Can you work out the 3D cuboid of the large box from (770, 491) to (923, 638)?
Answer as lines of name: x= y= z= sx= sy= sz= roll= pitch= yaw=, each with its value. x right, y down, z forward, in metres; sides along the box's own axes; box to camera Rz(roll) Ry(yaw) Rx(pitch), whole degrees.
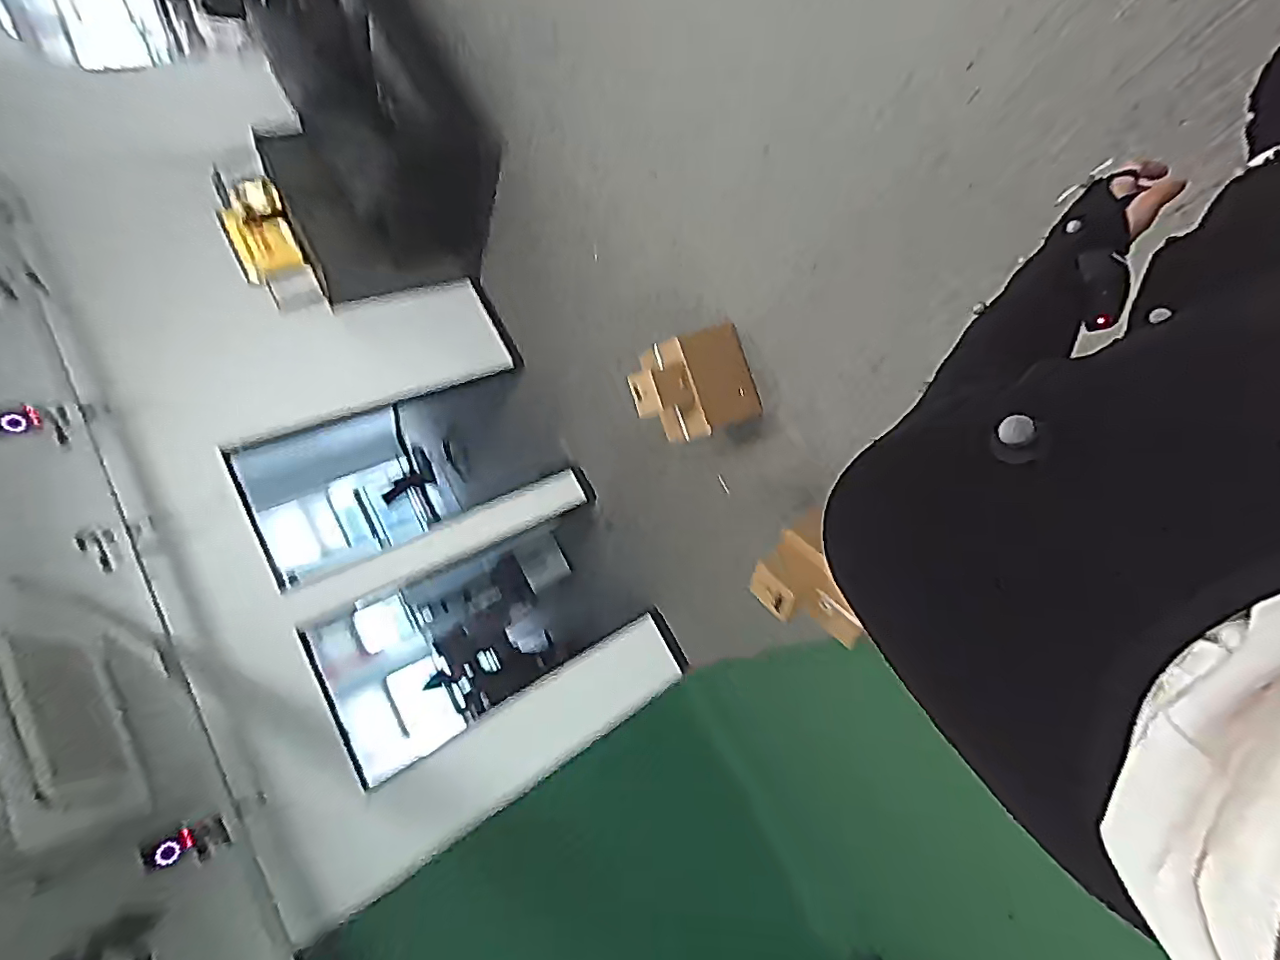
large box: x=0.777 y=0.309 z=2.078 sx=0.408 sy=0.320 sz=0.320 roll=40 pitch=144 yaw=35

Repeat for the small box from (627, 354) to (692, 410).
small box: x=0.081 y=-0.394 z=2.176 sx=0.179 sy=0.176 sz=0.168 roll=-3 pitch=109 yaw=57
